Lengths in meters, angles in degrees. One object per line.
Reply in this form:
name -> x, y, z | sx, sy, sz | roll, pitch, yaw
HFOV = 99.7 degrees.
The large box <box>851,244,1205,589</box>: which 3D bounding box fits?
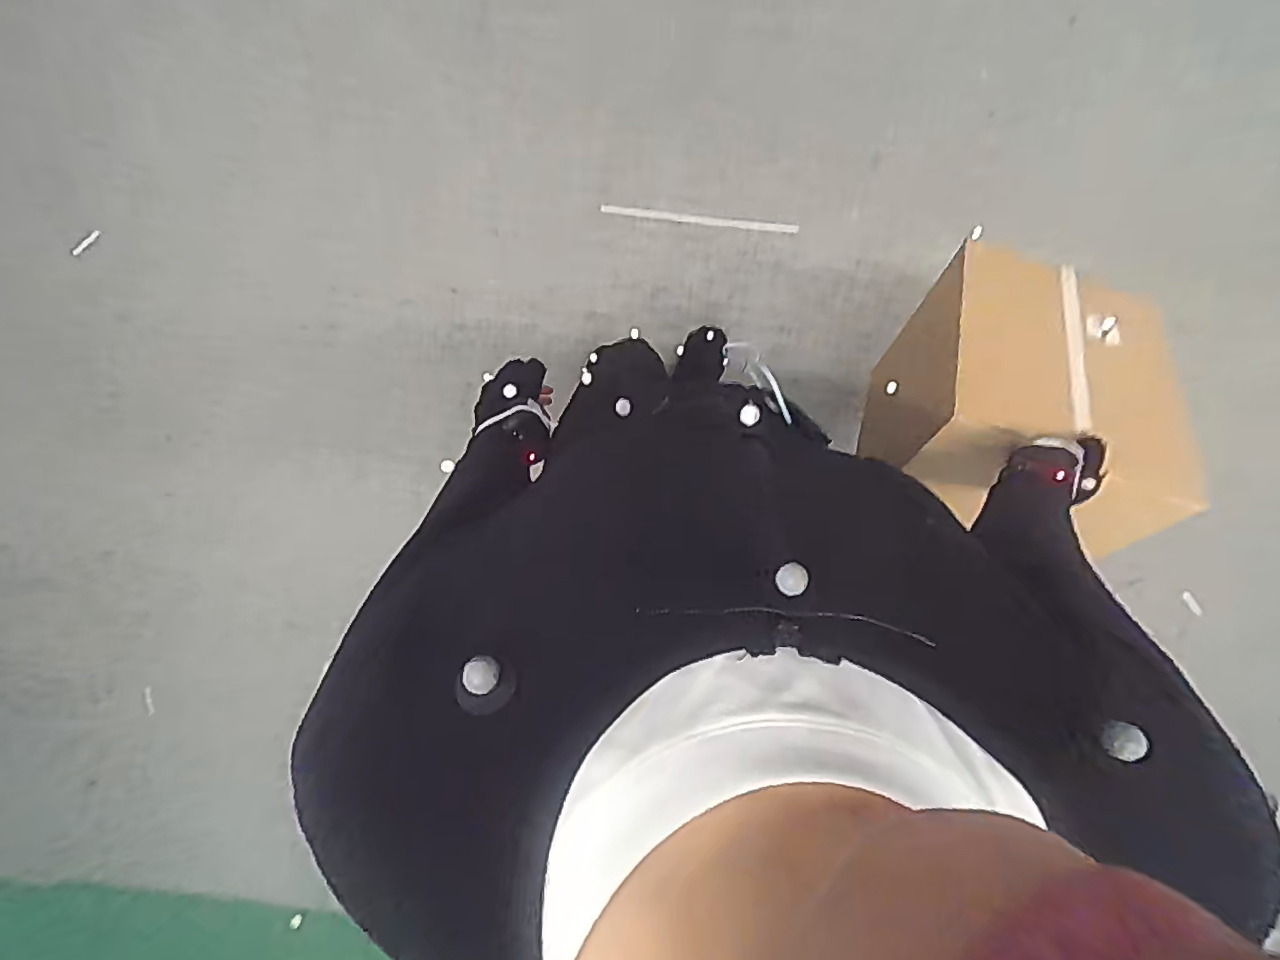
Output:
large box -> 0.576, -0.097, 0.879 | 0.320, 0.408, 0.320 | 21, 148, 4
